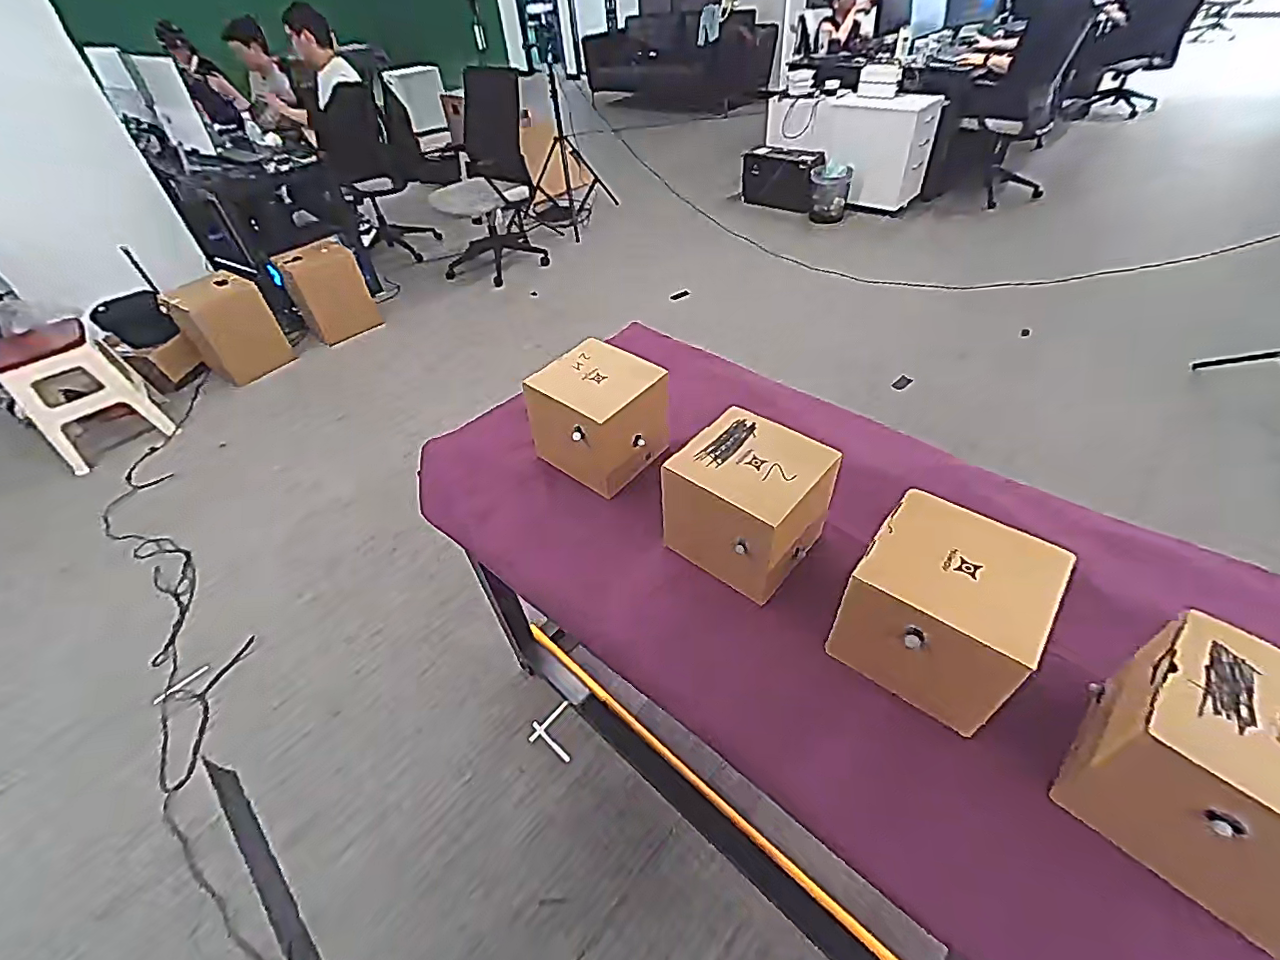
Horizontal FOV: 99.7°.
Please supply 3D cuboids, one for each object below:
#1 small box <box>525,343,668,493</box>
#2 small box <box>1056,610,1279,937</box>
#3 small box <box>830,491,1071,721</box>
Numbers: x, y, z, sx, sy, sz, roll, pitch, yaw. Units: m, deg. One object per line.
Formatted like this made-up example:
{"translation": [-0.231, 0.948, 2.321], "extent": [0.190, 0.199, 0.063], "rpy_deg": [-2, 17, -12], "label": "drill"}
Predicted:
{"translation": [-0.066, -0.103, 0.928], "extent": [0.179, 0.176, 0.168], "rpy_deg": [29, 53, 28], "label": "small box"}
{"translation": [0.529, 0.262, 0.491], "extent": [0.168, 0.176, 0.179], "rpy_deg": [-35, 51, -29], "label": "small box"}
{"translation": [0.348, 0.150, 0.632], "extent": [0.179, 0.176, 0.168], "rpy_deg": [28, 53, 31], "label": "small box"}
